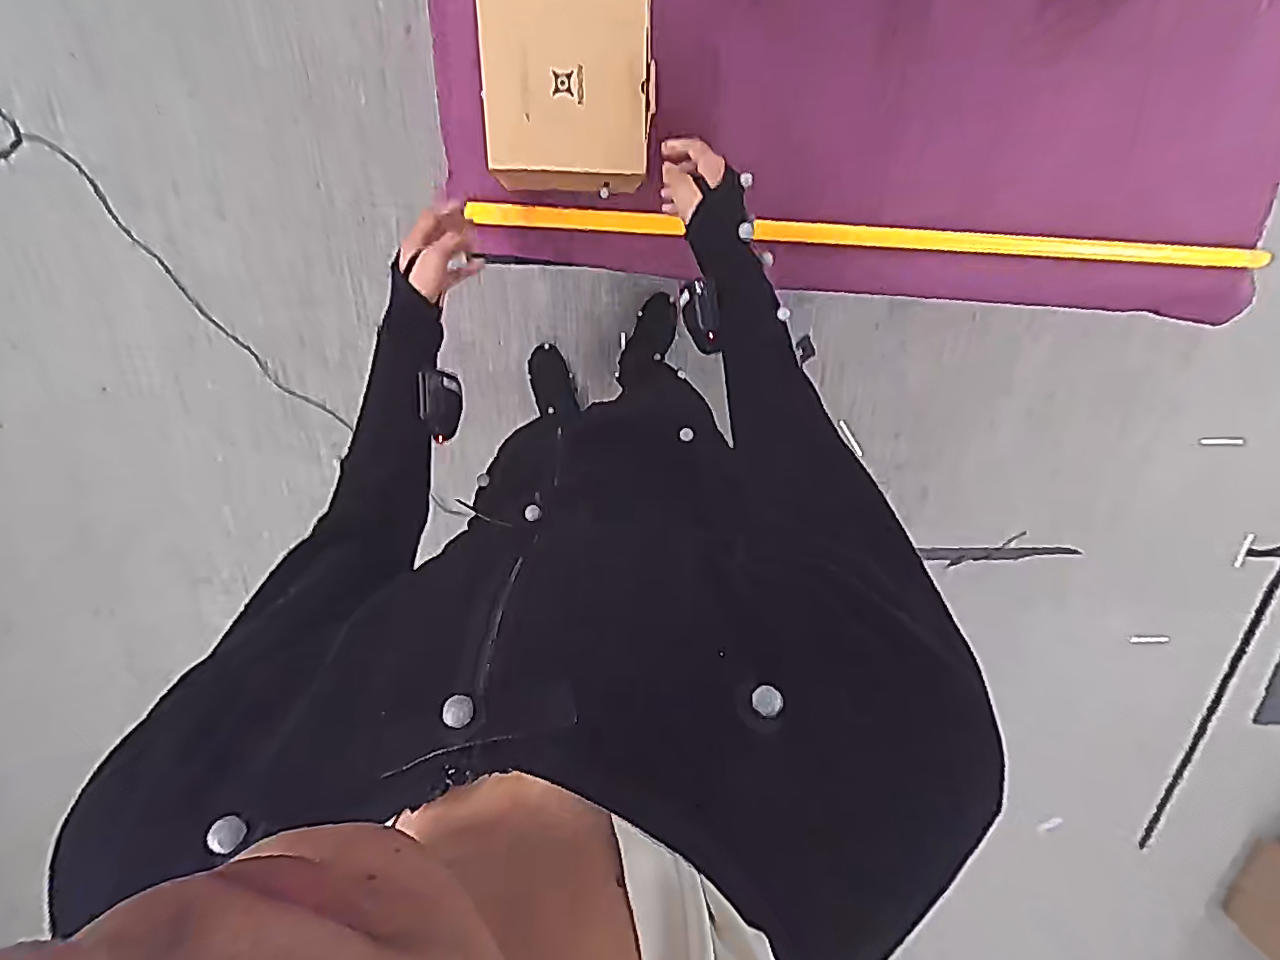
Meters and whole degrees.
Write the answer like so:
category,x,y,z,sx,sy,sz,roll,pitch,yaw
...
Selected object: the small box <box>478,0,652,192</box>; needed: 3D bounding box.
category,x,y,z,sx,sy,sz,roll,pitch,yaw
small box,-0.086,-0.446,0.639,0.179,0.176,0.168,-1,111,-6
